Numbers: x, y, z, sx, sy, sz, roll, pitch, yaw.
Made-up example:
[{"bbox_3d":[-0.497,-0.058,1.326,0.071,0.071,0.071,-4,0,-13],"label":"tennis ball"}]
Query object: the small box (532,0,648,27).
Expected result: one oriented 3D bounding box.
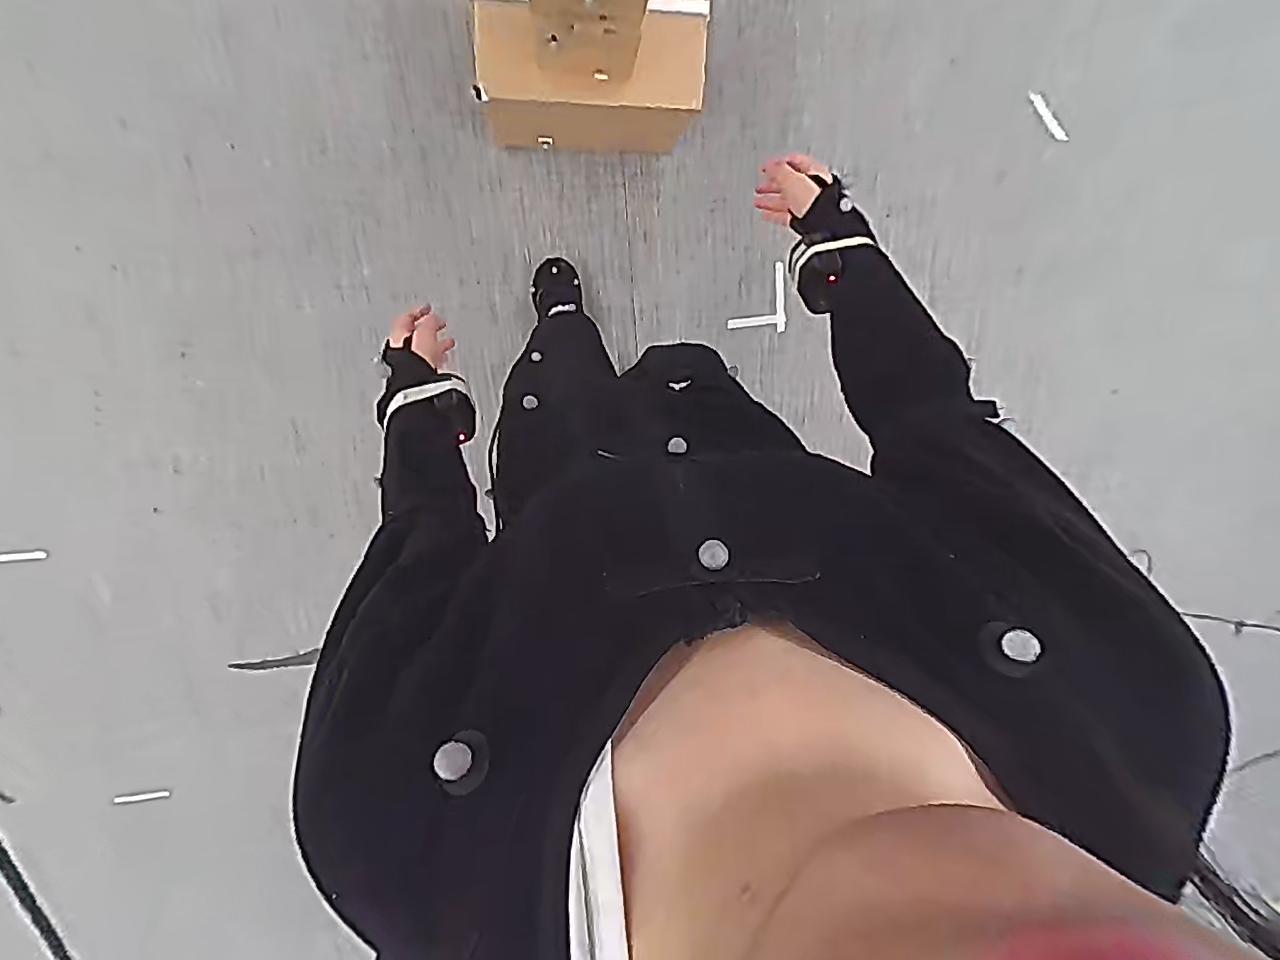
[{"bbox_3d":[-0.064,-0.727,0.695,0.168,0.176,0.179,-1,108,-7],"label":"small box"}]
